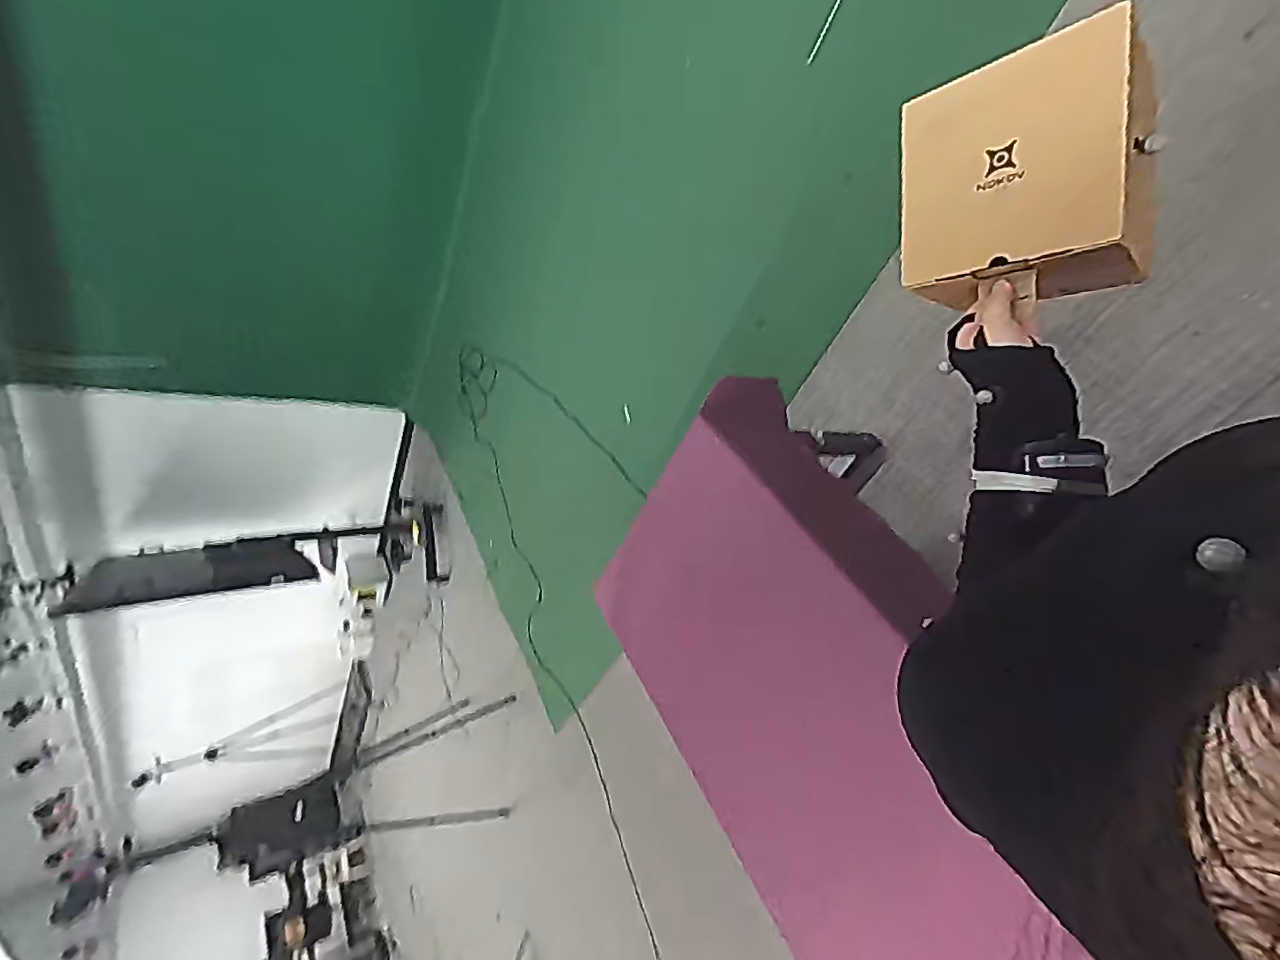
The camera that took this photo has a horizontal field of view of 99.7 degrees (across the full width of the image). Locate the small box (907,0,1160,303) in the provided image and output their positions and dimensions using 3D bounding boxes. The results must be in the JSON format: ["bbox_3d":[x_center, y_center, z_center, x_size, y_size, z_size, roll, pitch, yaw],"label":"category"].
[{"bbox_3d":[0.373,-0.281,0.514,0.168,0.176,0.179,4,98,47],"label":"small box"}]
